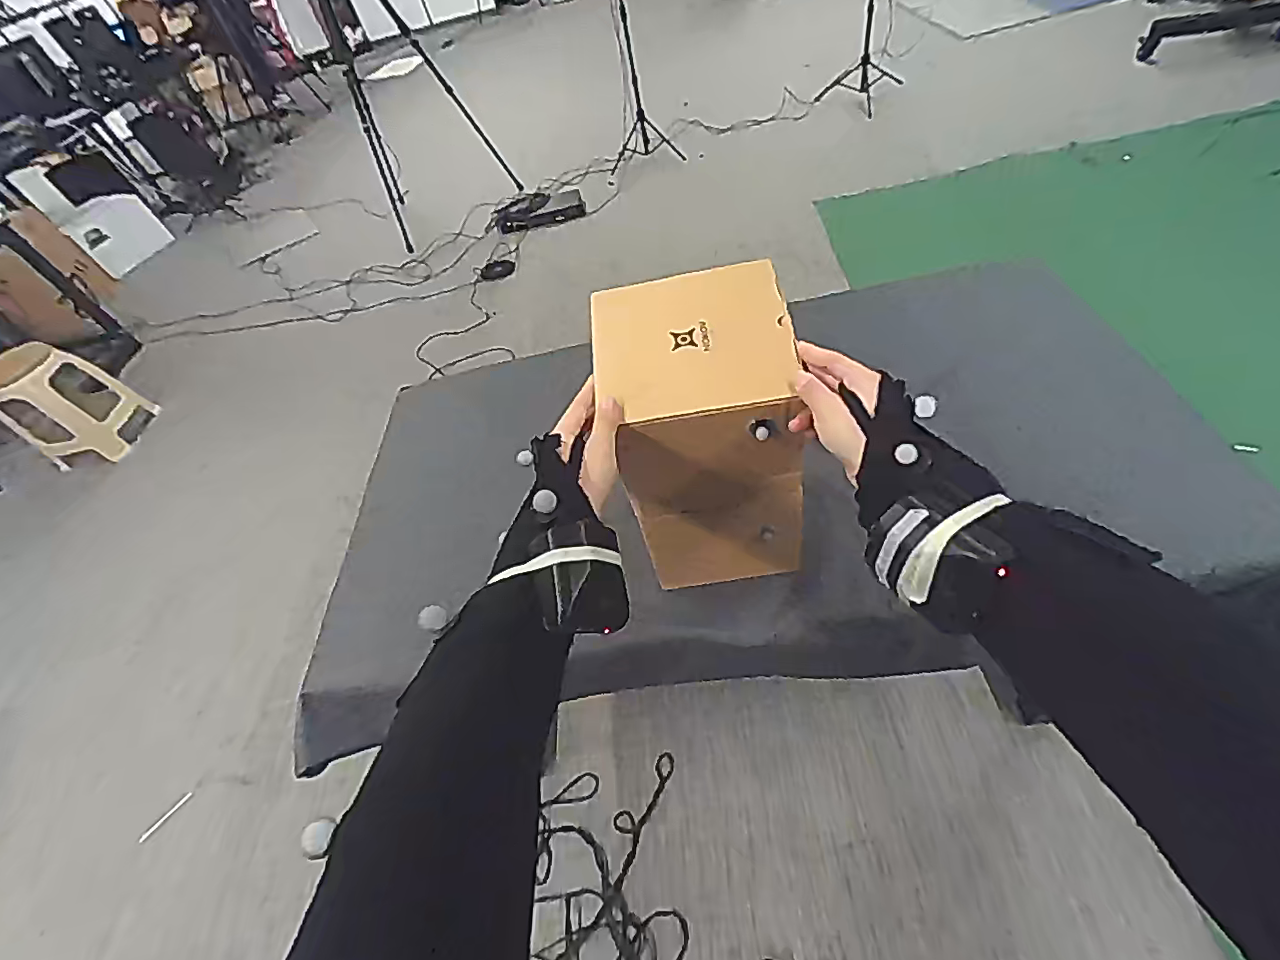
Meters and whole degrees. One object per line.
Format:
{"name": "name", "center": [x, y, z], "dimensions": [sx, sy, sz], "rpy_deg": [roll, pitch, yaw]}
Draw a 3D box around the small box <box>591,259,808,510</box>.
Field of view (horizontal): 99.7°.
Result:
{"name": "small box", "center": [0.057, -0.083, 0.538], "dimensions": [0.179, 0.176, 0.168], "rpy_deg": [-9, 58, 6]}
